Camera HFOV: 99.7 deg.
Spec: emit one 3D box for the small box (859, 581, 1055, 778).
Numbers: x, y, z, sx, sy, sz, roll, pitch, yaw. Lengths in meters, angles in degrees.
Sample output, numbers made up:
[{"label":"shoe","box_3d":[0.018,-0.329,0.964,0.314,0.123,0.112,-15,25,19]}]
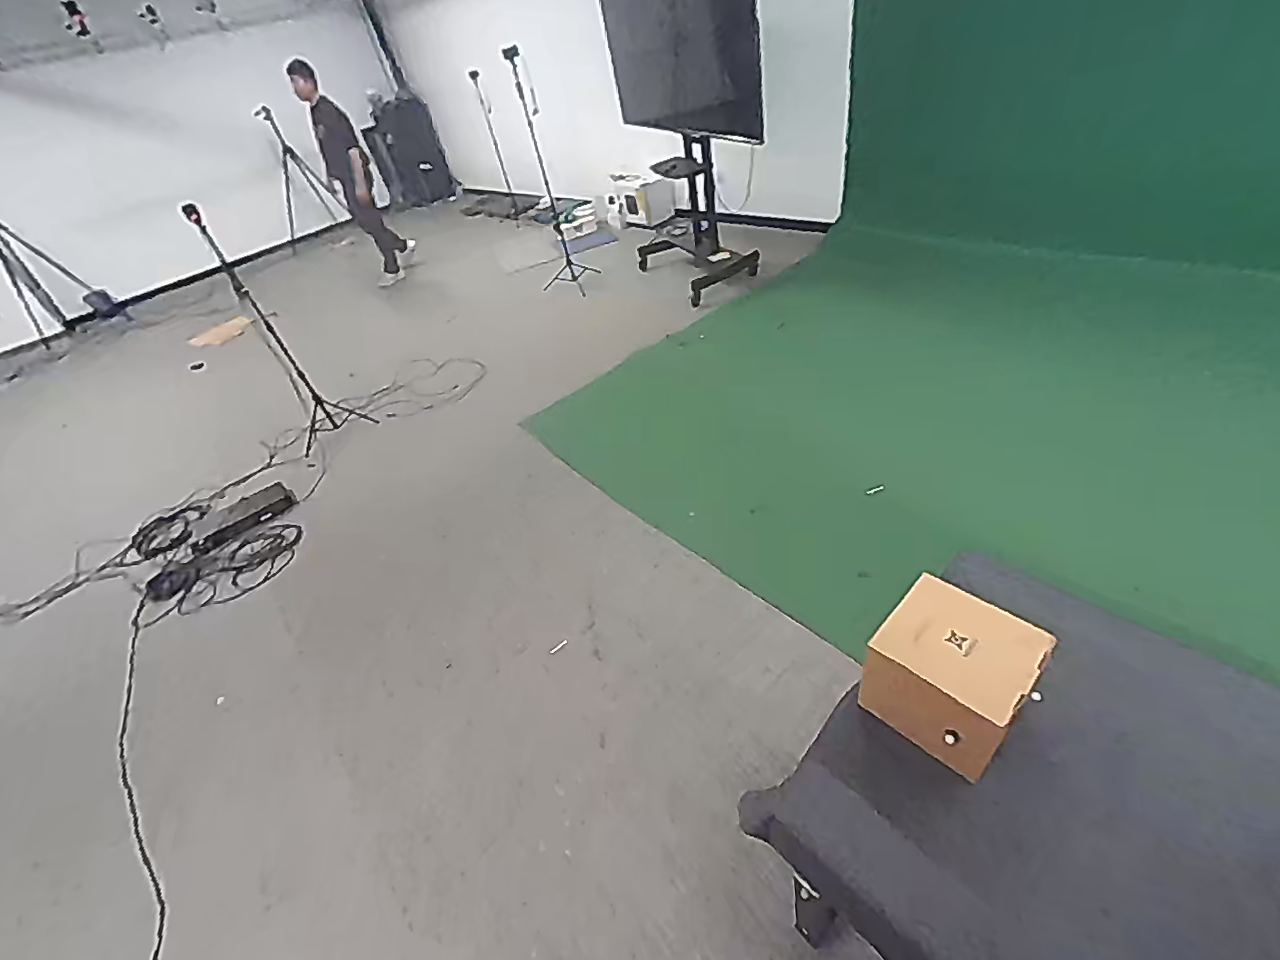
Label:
[{"label":"small box","box_3d":[0.436,0.285,0.766,0.168,0.176,0.179,-36,44,-30]}]
